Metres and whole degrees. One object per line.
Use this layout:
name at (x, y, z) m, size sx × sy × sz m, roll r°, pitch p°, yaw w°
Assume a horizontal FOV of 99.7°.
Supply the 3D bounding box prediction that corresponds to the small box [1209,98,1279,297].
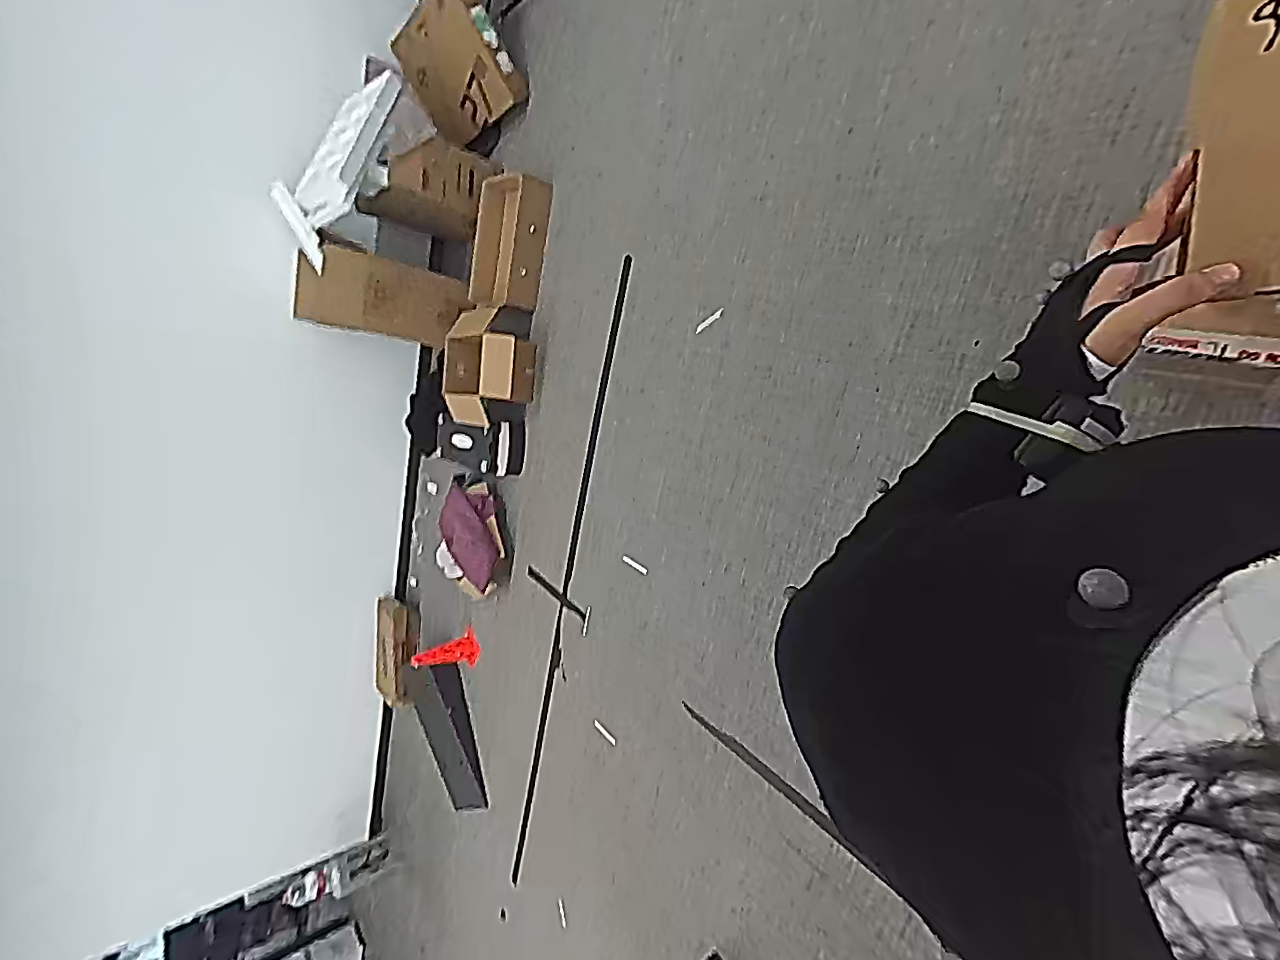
small box at (0.762, -0.299, 0.582) m, size 0.168 × 0.176 × 0.179 m, roll 24°, pitch 112°, yaw 46°
